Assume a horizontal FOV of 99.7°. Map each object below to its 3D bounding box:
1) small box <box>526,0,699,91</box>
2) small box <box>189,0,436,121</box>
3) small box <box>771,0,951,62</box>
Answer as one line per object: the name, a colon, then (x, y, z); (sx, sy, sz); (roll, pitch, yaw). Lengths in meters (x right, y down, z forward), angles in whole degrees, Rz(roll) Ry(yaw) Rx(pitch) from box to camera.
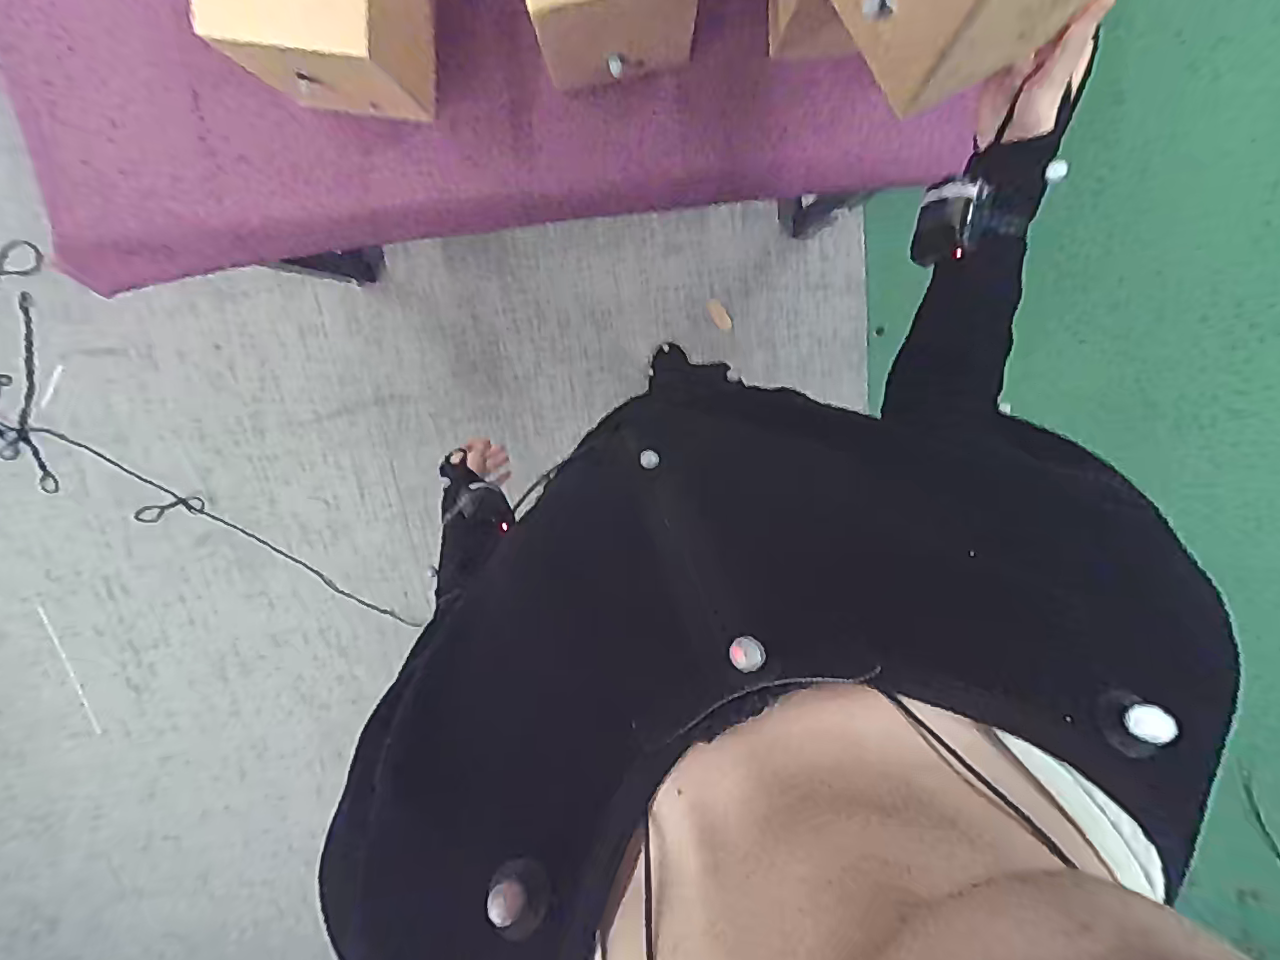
small box: (-0.037, -0.544, 0.552); (0.168, 0.176, 0.179); (-10, 104, 3)
small box: (-0.326, -0.509, 0.564); (0.168, 0.176, 0.179); (7, 103, -1)
small box: (0.233, -0.558, 0.545); (0.179, 0.176, 0.168); (-2, 103, 1)
